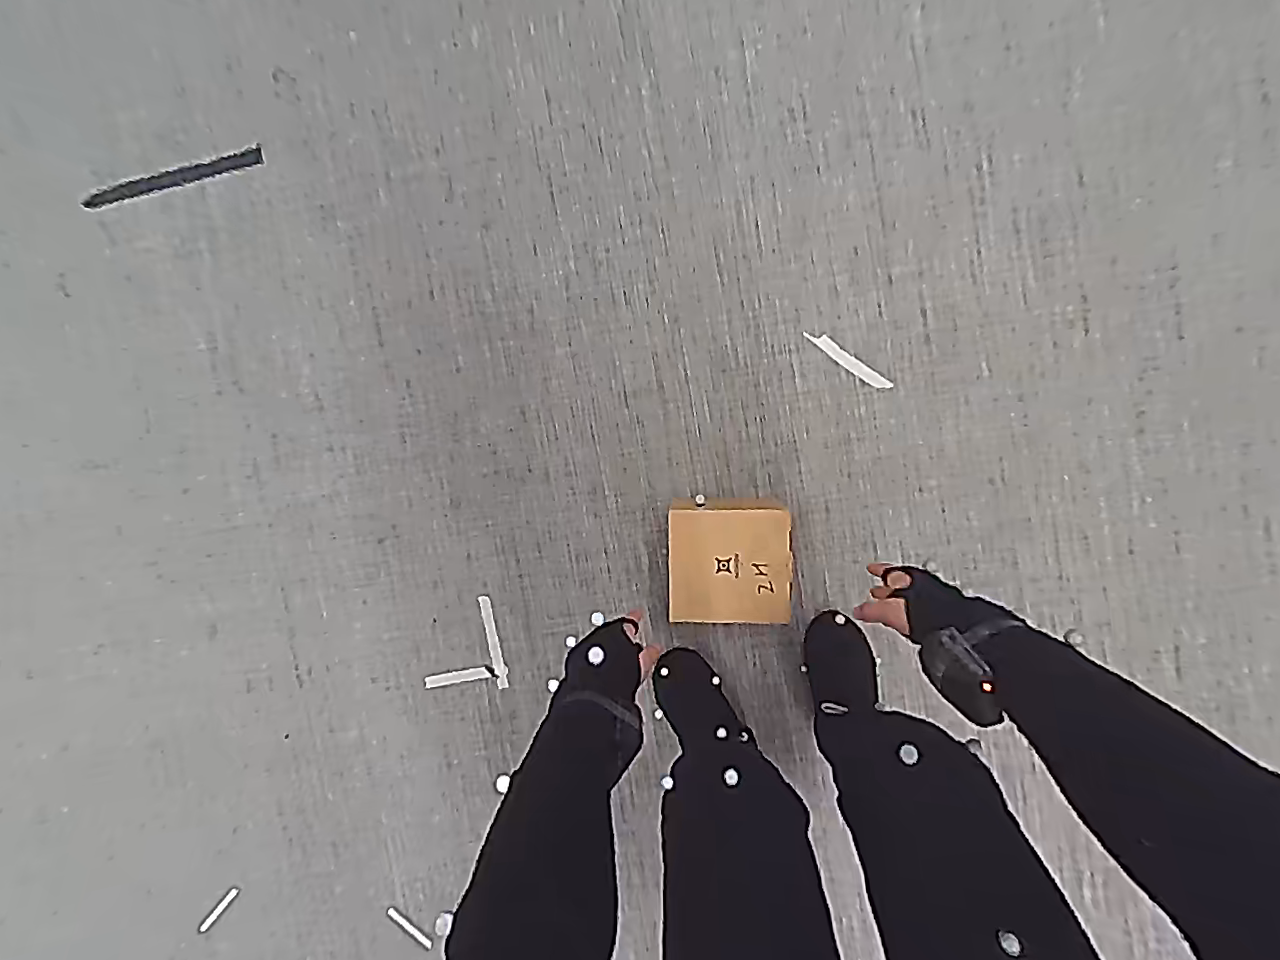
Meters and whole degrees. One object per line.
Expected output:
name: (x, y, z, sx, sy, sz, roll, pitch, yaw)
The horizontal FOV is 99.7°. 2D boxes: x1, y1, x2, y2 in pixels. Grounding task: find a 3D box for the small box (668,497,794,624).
small box: (0.137, 0.117, 0.846, 0.179, 0.176, 0.168, 0, 94, 5)
